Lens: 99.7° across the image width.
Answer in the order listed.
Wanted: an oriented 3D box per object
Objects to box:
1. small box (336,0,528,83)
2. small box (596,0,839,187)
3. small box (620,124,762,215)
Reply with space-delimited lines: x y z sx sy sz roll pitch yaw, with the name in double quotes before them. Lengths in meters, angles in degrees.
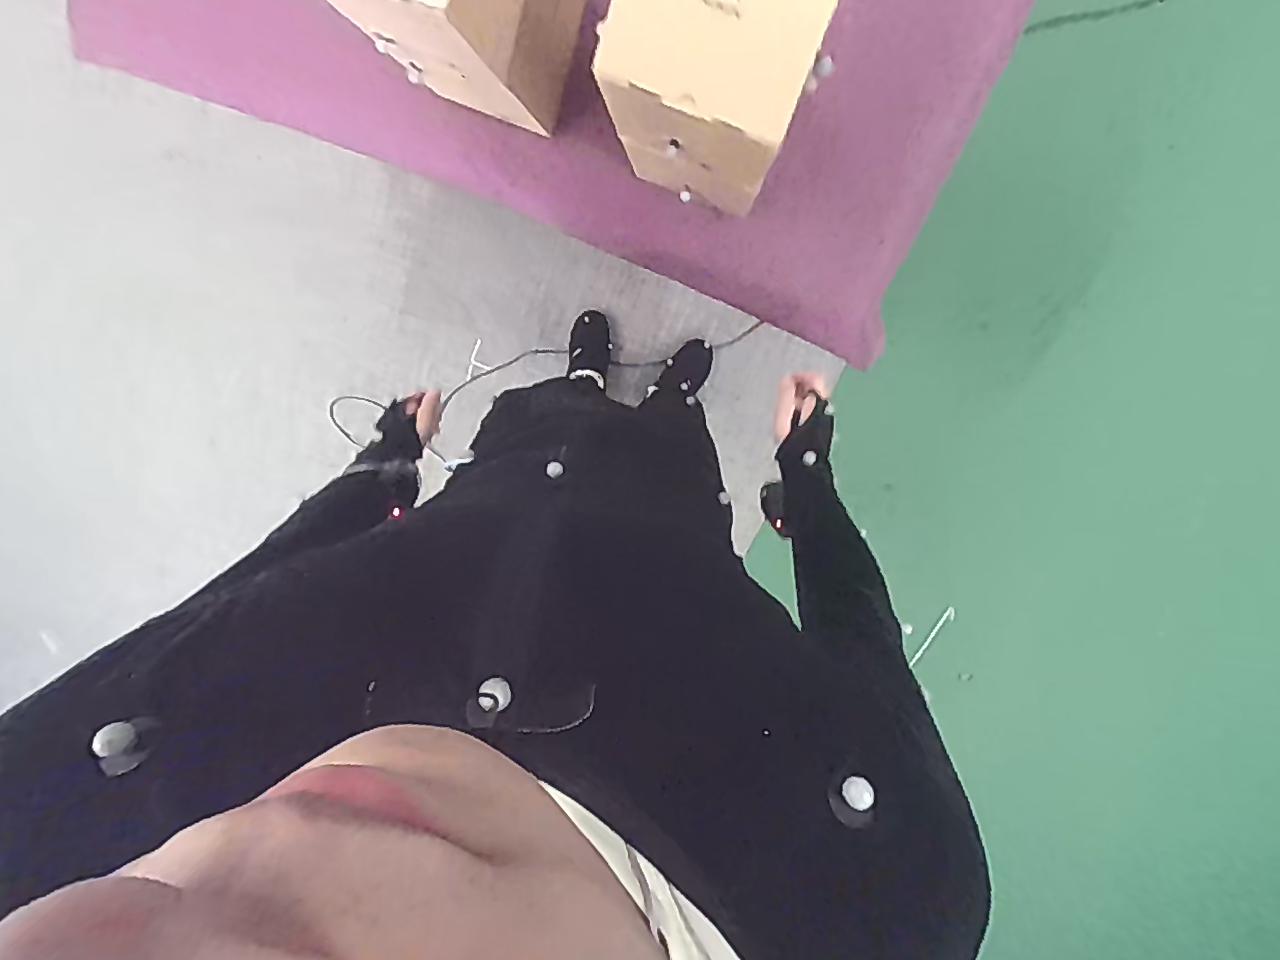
"small box" -0.195 -0.503 0.483 0.168 0.176 0.179 21 107 -2
"small box" 0.073 -0.400 0.492 0.168 0.176 0.179 21 108 -2
"small box" 0.088 -0.446 0.648 0.168 0.176 0.179 22 108 -1
